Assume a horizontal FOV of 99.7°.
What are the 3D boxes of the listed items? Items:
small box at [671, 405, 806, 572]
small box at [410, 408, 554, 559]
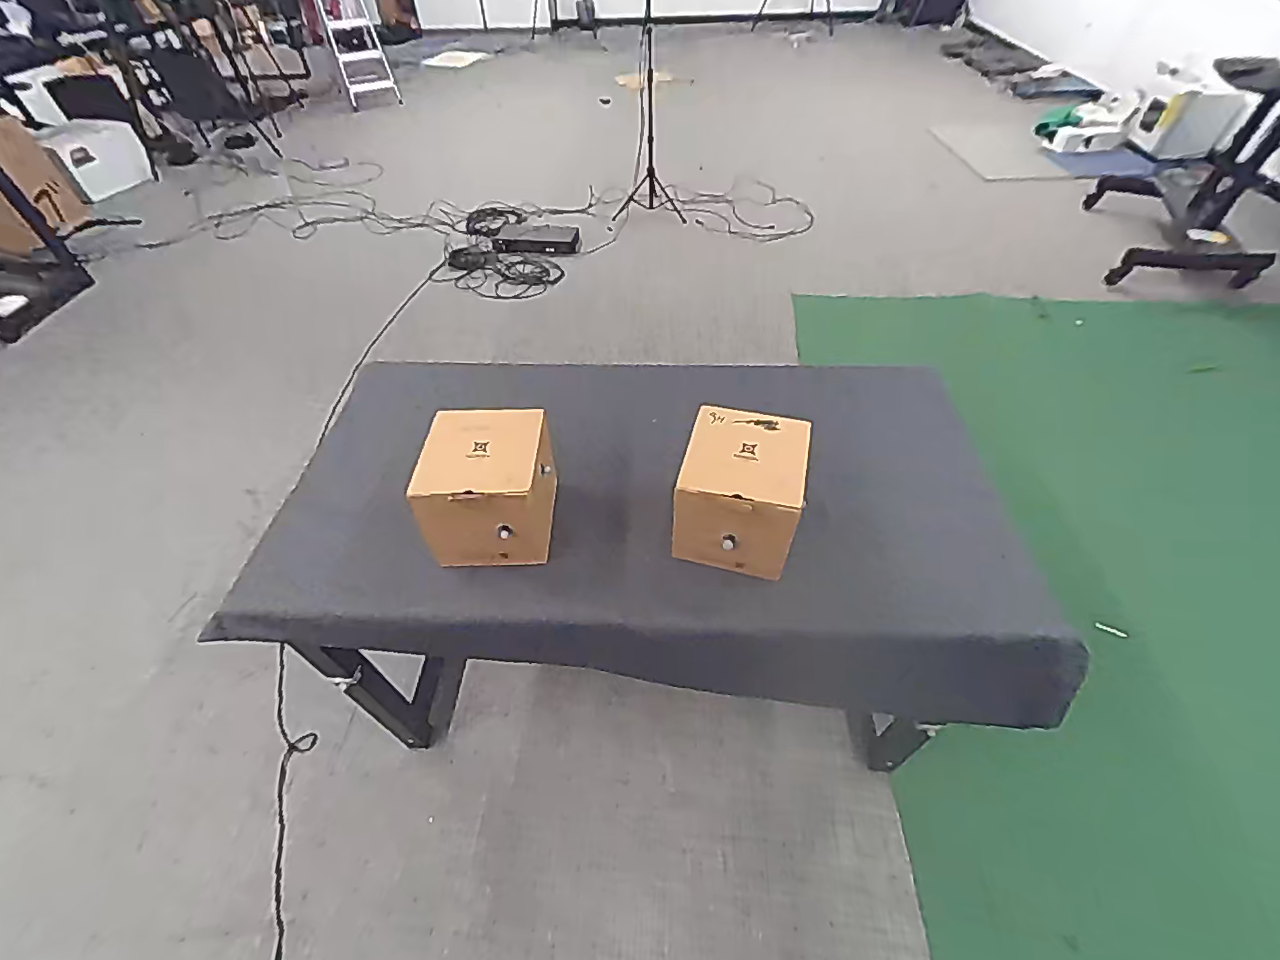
[{"bbox_3d":[0.146,0.015,0.820,0.168,0.176,0.179,11,50,11],"label":"small box"},{"bbox_3d":[-0.228,0.009,0.835,0.168,0.176,0.179,-1,46,-1],"label":"small box"}]
